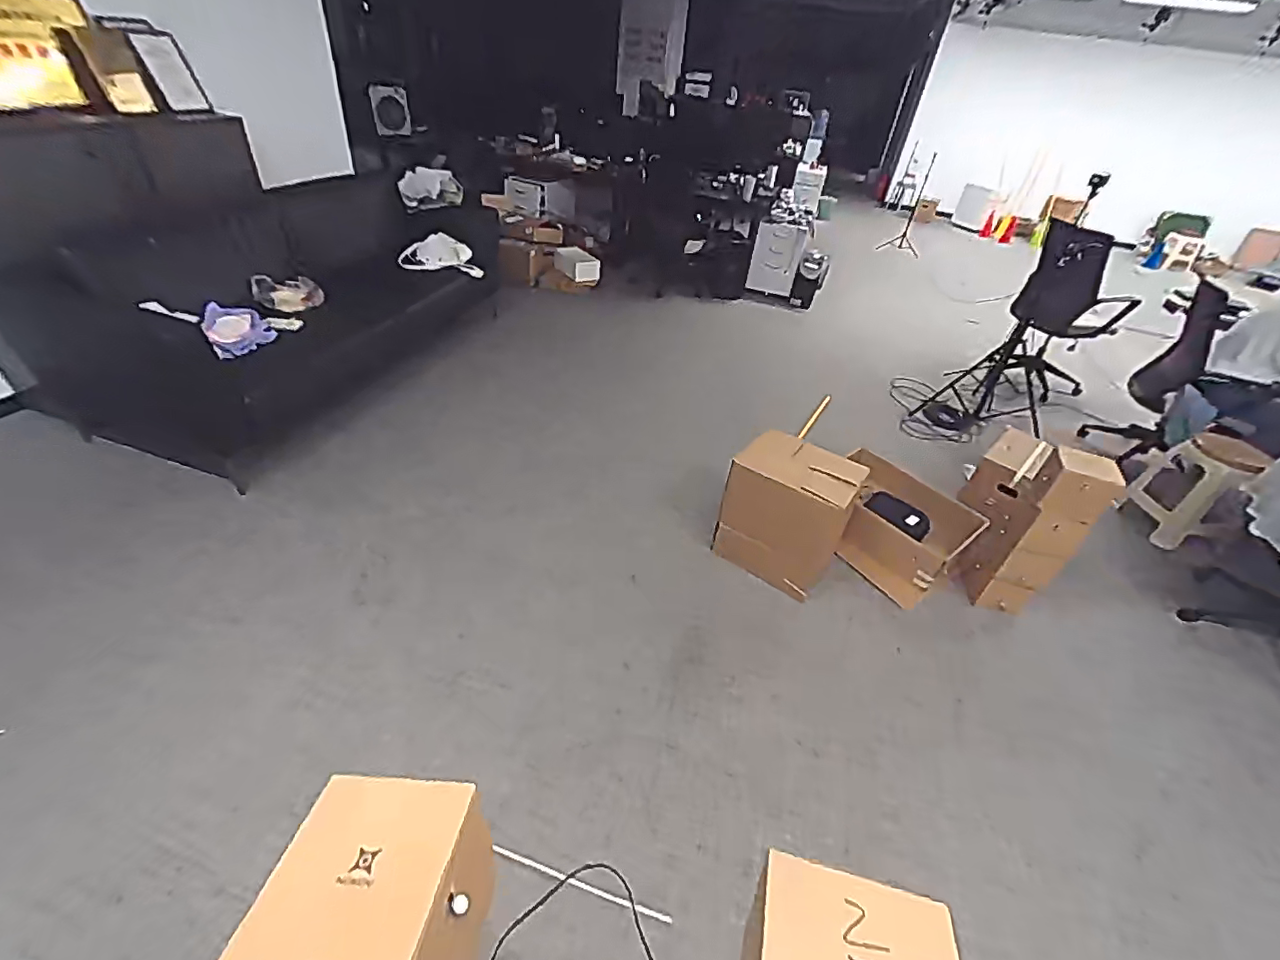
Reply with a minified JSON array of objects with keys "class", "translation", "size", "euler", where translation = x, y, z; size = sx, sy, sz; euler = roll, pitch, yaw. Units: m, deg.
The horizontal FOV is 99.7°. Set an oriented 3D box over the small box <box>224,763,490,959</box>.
[{"class":"small box","translation":[-0.266,0.432,0.562],"size":[0.168,0.176,0.179],"euler":[2,29,5]}]
